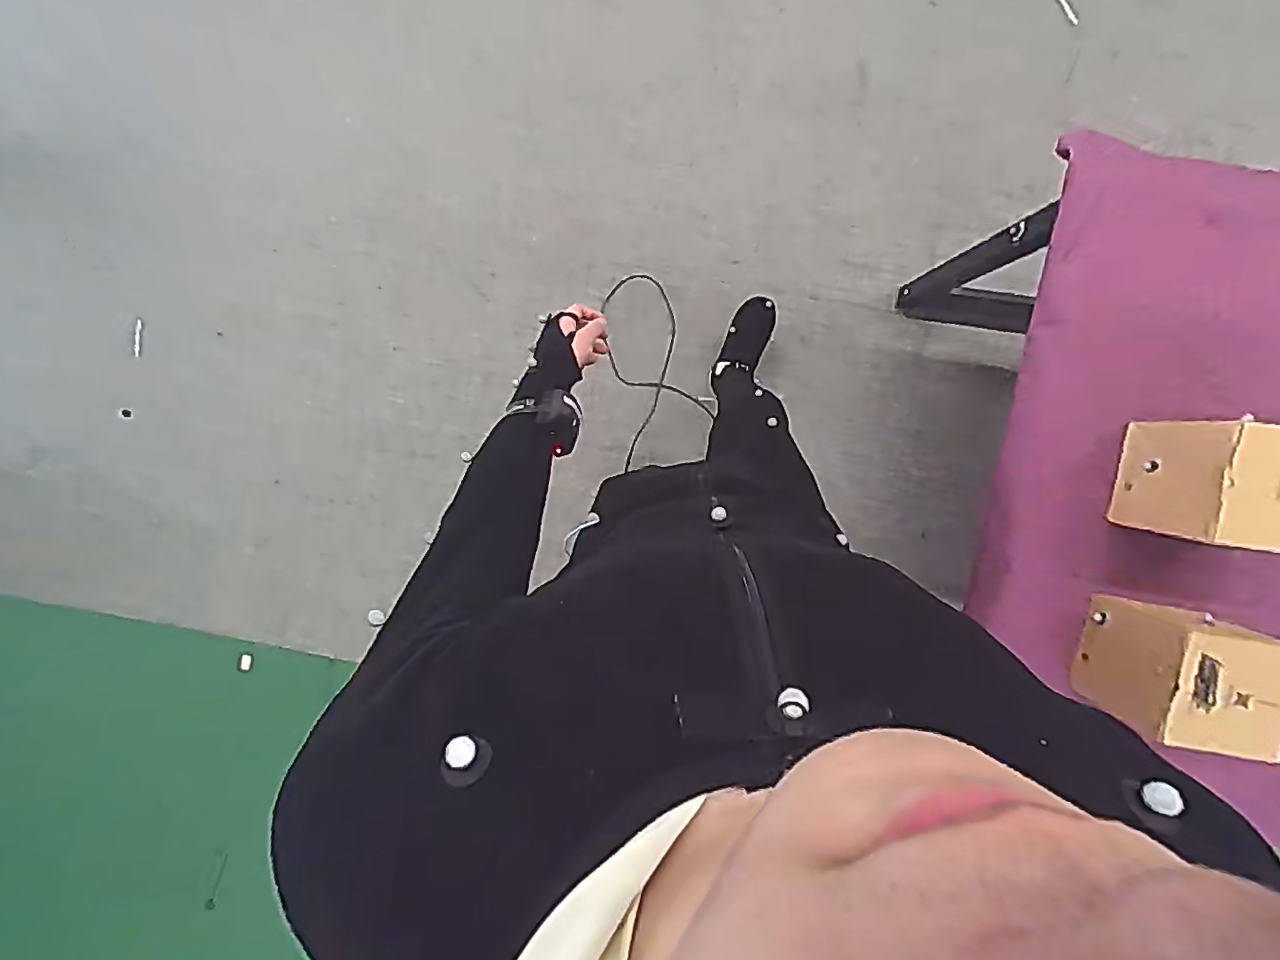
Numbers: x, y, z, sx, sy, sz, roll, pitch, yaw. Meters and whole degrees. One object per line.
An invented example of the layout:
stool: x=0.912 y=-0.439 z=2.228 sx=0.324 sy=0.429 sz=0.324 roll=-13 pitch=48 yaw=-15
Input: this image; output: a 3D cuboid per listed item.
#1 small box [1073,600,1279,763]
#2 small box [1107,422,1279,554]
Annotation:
small box: x=0.815 y=0.292 z=0.822 sx=0.179 sy=0.176 sz=0.168 roll=9 pitch=95 yaw=1
small box: x=0.855 y=0.007 z=0.793 sx=0.179 sy=0.176 sz=0.168 roll=7 pitch=96 yaw=1
